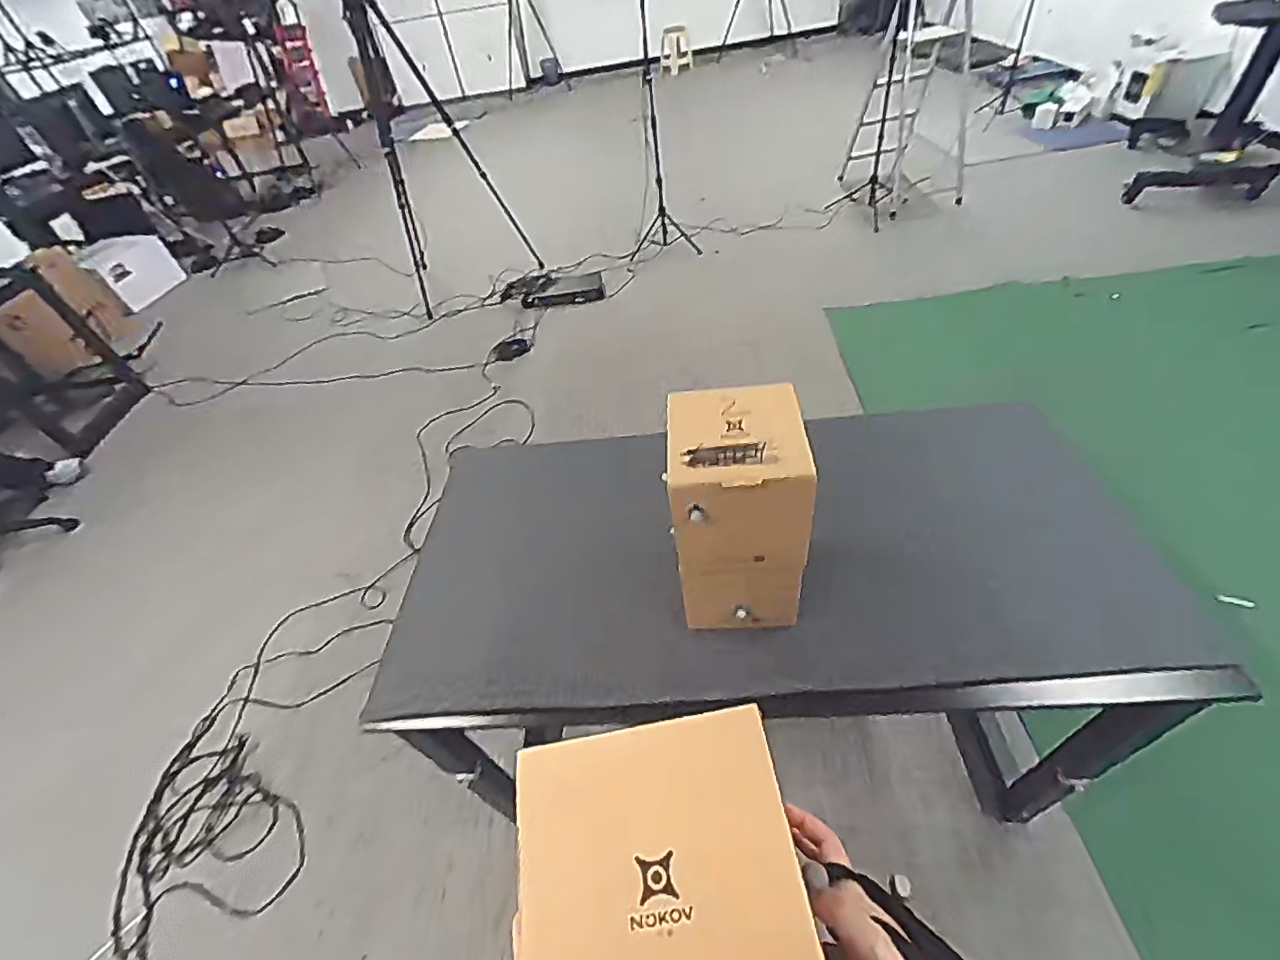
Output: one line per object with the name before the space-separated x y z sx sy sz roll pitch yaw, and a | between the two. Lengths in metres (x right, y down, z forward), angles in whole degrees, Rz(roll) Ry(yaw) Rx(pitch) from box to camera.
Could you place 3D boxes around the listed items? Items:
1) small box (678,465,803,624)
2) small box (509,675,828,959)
small box | 0.146 0.099 0.826 0.168 0.176 0.179 -4 45 7
small box | 0.017 0.258 0.368 0.168 0.176 0.179 -12 53 2
